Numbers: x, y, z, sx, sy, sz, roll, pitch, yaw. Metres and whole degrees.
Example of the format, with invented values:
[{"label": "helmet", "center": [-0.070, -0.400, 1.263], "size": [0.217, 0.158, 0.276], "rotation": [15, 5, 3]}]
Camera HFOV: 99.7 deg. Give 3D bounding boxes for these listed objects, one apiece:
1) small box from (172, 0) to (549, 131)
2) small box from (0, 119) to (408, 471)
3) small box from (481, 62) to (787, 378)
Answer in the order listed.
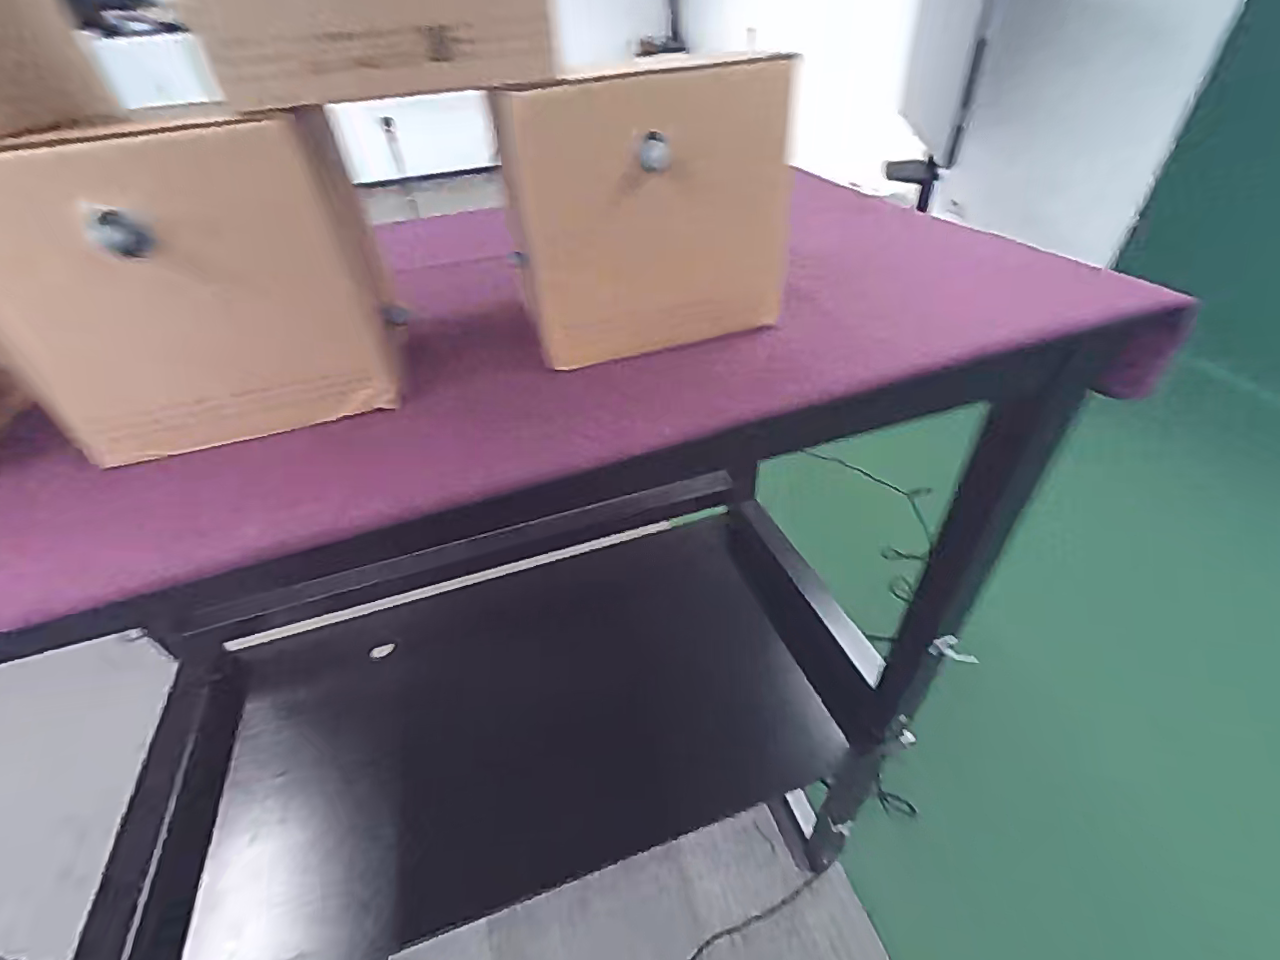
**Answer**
[{"label": "small box", "center": [-0.154, -0.296, 0.289], "size": [0.168, 0.176, 0.179], "rotation": [-15, 41, -11]}, {"label": "small box", "center": [-0.273, -0.127, 0.357], "size": [0.179, 0.176, 0.168], "rotation": [-15, 41, -11]}, {"label": "small box", "center": [-0.011, -0.201, 0.413], "size": [0.179, 0.176, 0.168], "rotation": [-16, 41, -10]}]
